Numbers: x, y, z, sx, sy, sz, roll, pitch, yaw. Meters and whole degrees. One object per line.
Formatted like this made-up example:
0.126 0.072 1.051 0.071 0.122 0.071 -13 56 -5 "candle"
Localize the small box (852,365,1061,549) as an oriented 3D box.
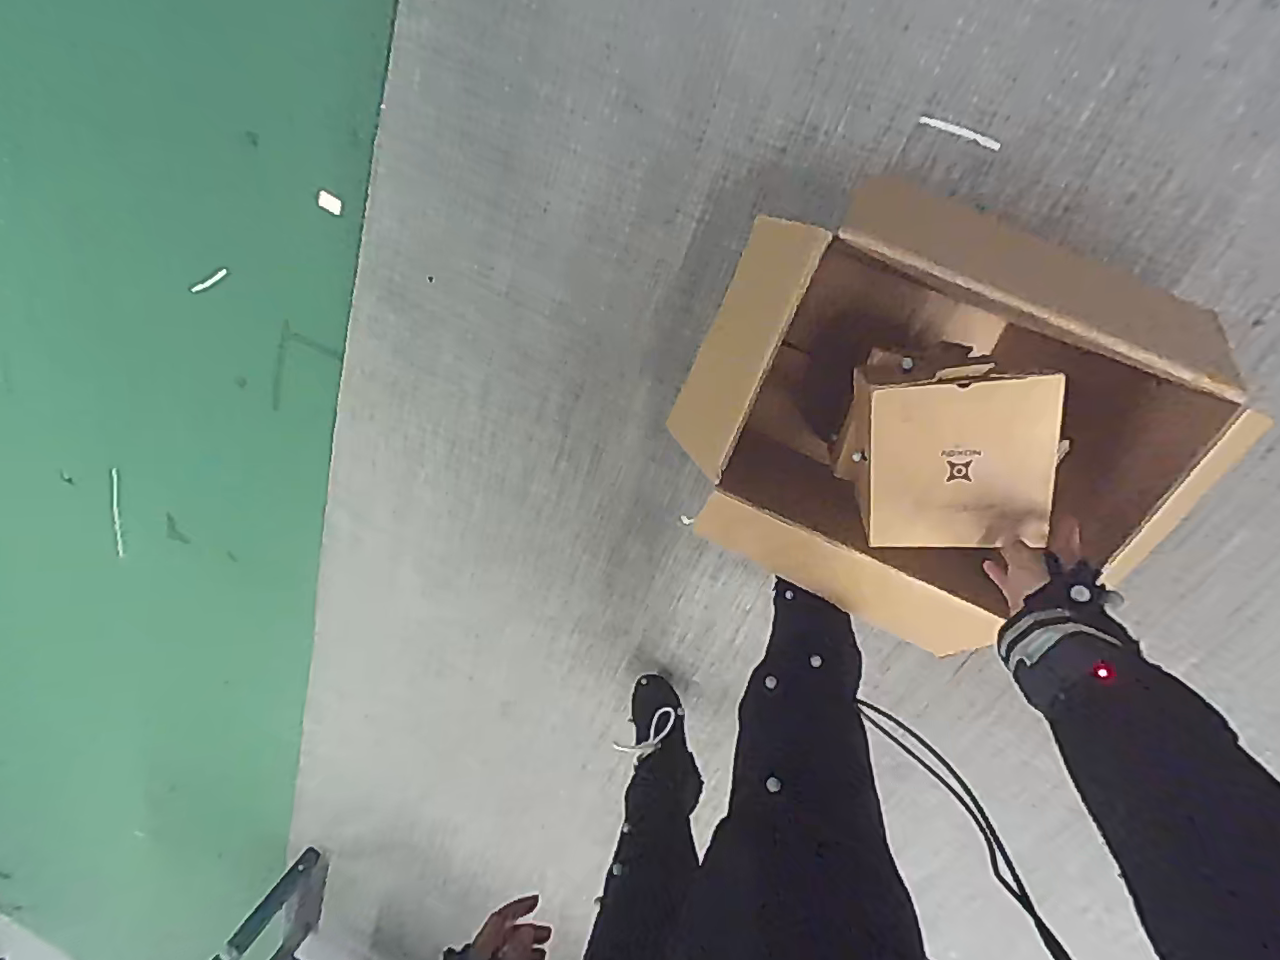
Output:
0.338 -0.036 0.616 0.168 0.176 0.179 -1 108 16 "small box"
